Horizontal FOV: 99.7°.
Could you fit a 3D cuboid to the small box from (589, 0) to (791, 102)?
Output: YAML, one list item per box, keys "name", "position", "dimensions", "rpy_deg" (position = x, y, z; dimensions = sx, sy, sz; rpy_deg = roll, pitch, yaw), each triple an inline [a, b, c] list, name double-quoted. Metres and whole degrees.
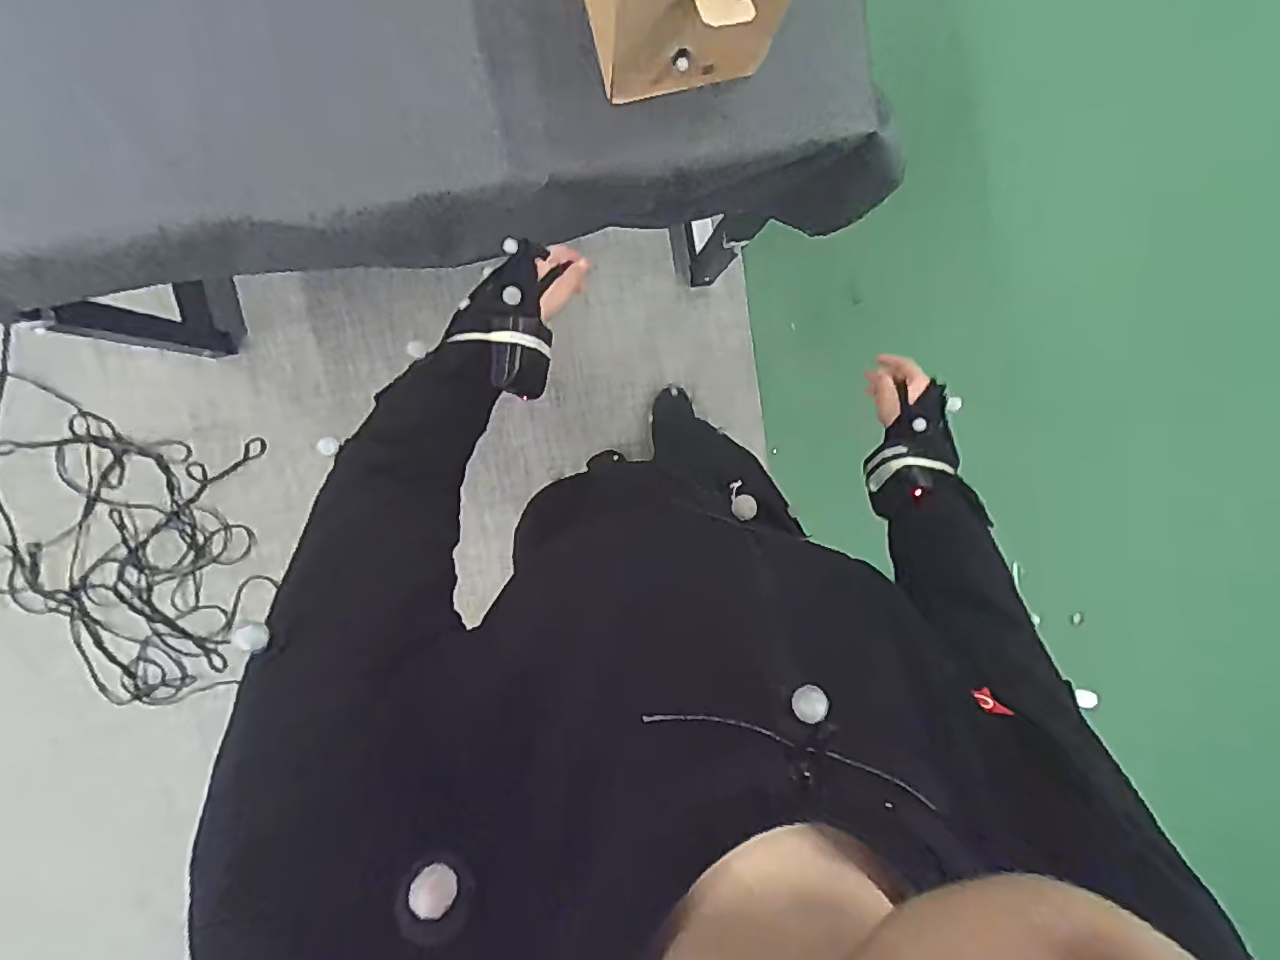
- name: "small box"
  position: [0.035, -0.494, 0.490]
  dimensions: [0.168, 0.176, 0.179]
  rpy_deg: [-15, 98, -4]
